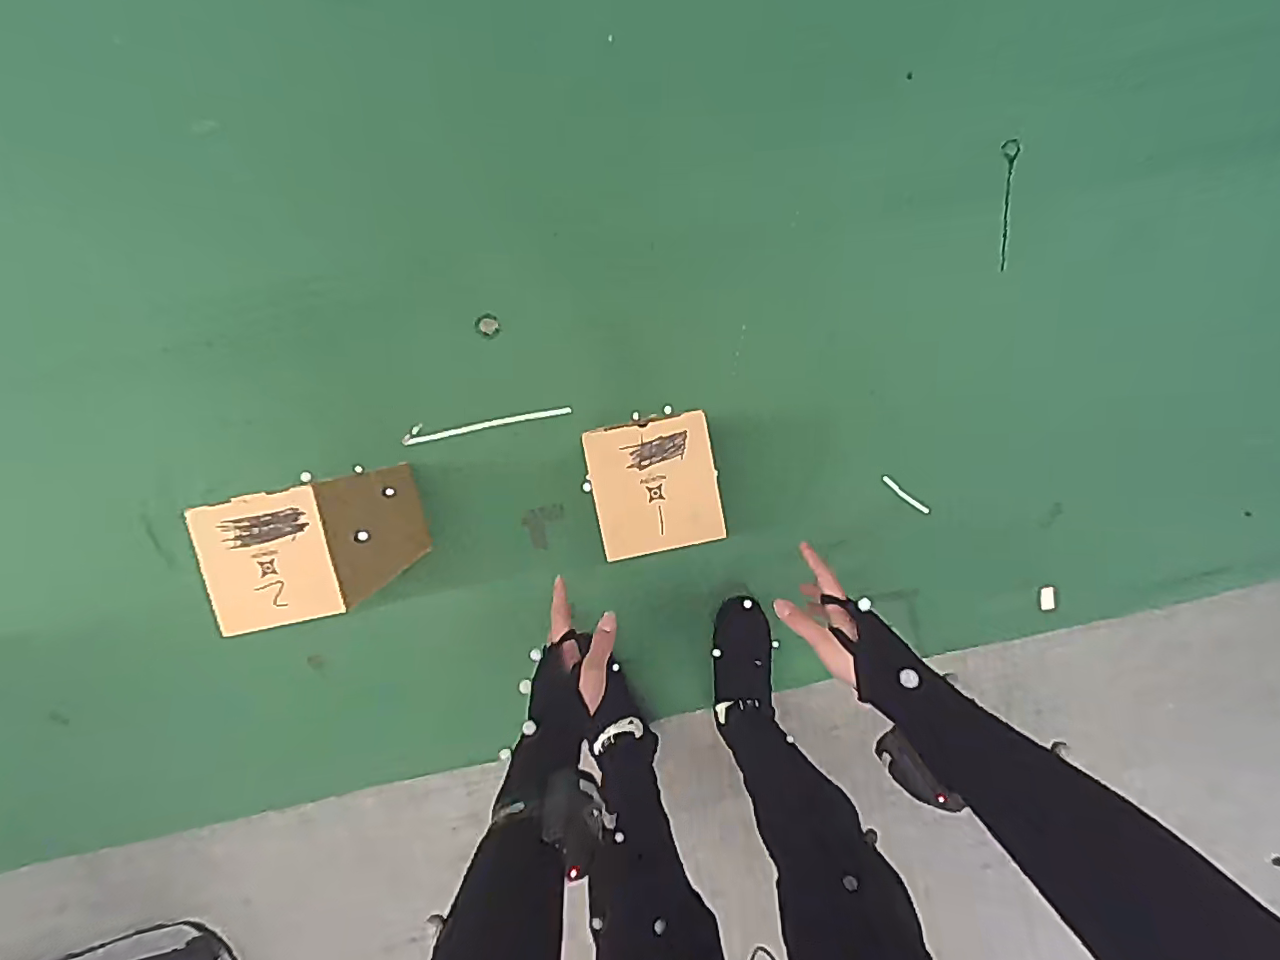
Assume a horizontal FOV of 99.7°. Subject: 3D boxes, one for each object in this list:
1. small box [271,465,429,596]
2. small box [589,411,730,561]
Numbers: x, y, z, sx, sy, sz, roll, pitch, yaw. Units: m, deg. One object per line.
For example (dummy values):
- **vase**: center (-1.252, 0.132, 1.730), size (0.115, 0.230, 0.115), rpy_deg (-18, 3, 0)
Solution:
- **small box**: center (-0.485, 0.078, 0.933), size (0.168, 0.176, 0.179), rpy_deg (-11, 95, -1)
- **small box**: center (0.021, 0.002, 0.785), size (0.168, 0.176, 0.179), rpy_deg (-11, 97, -2)
